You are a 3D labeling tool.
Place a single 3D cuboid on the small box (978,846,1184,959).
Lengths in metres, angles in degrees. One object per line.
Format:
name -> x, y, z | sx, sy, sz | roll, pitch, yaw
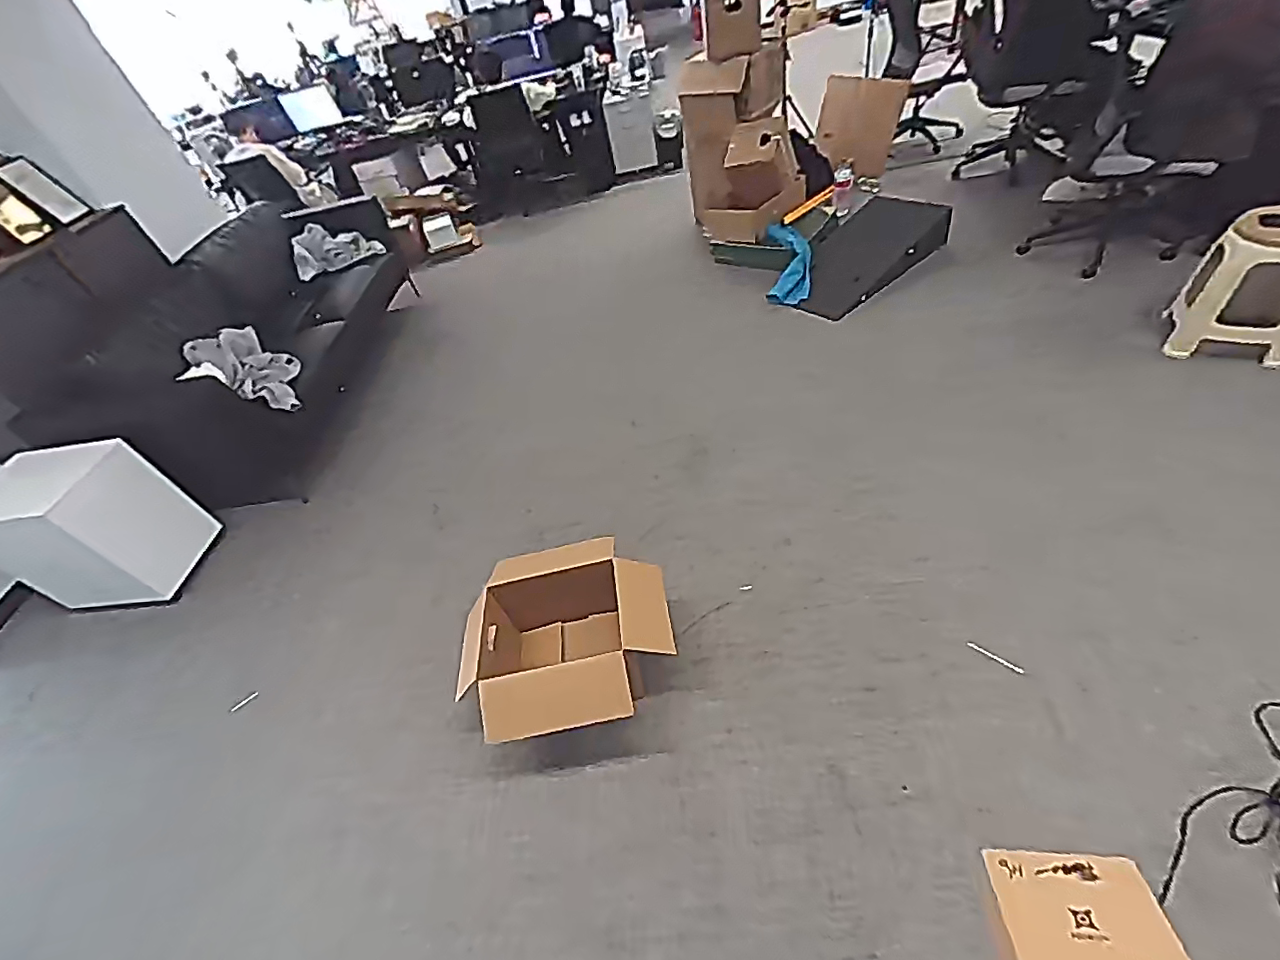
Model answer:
small box -> 0.514, 0.572, 0.627 | 0.168, 0.176, 0.179 | -9, 18, 20
